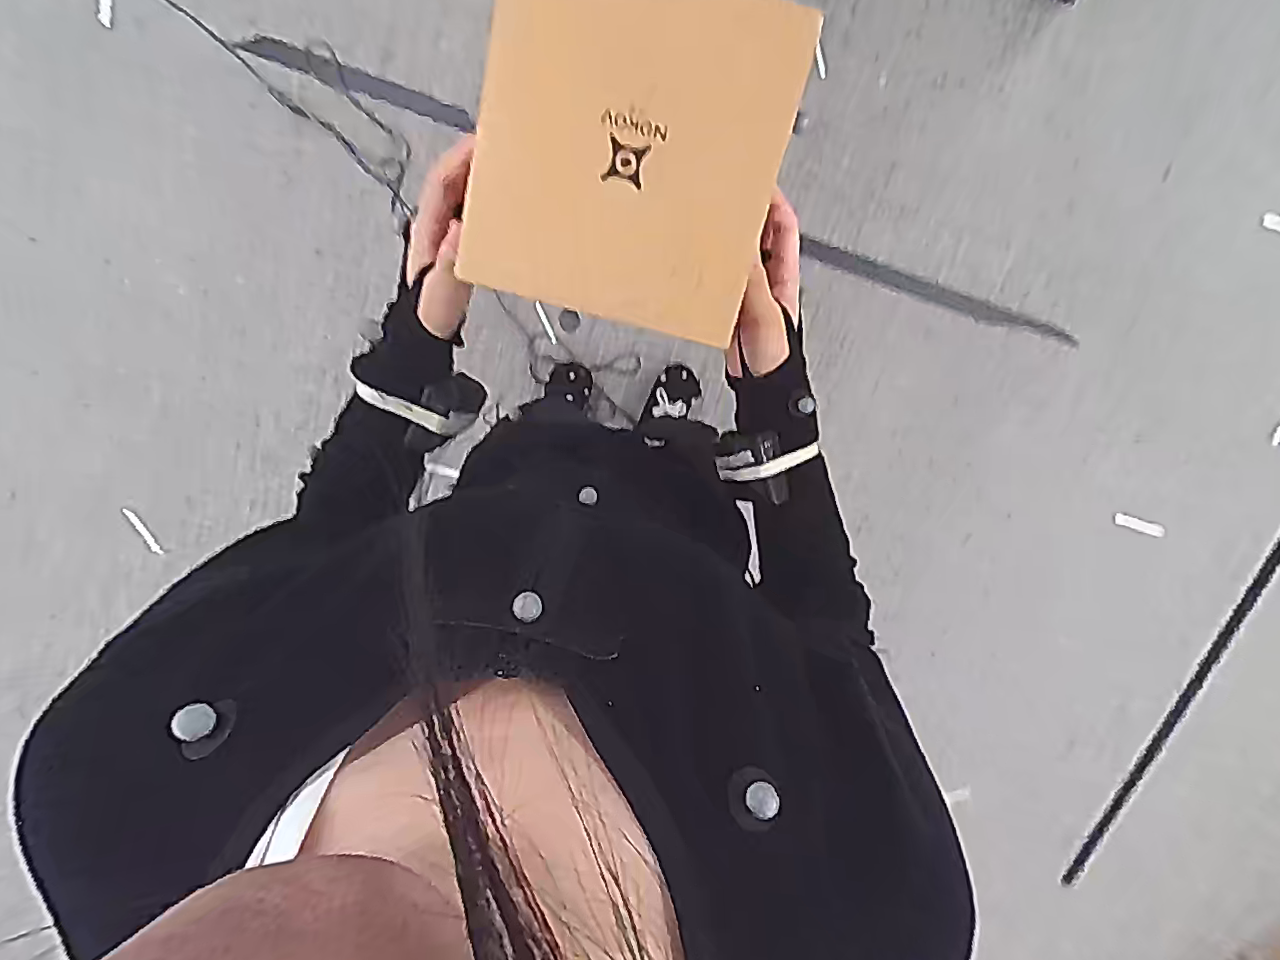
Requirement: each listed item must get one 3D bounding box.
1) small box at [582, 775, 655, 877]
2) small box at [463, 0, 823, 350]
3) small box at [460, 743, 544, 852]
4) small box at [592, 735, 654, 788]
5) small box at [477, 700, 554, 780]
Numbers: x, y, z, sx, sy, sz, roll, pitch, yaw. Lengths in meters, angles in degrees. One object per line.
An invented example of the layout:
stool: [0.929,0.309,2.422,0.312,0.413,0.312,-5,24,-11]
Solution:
small box: [-0.057,0.946,1.491,0.179,0.176,0.168,7,103,-1]
small box: [-0.003,-0.196,0.369,0.168,0.176,0.179,13,105,-4]
small box: [-0.366,0.852,1.464,0.168,0.176,0.179,17,104,-4]
small box: [-0.055,0.907,1.650,0.179,0.176,0.168,5,103,-2]
small box: [-0.366,0.803,1.622,0.168,0.176,0.179,20,103,-6]
